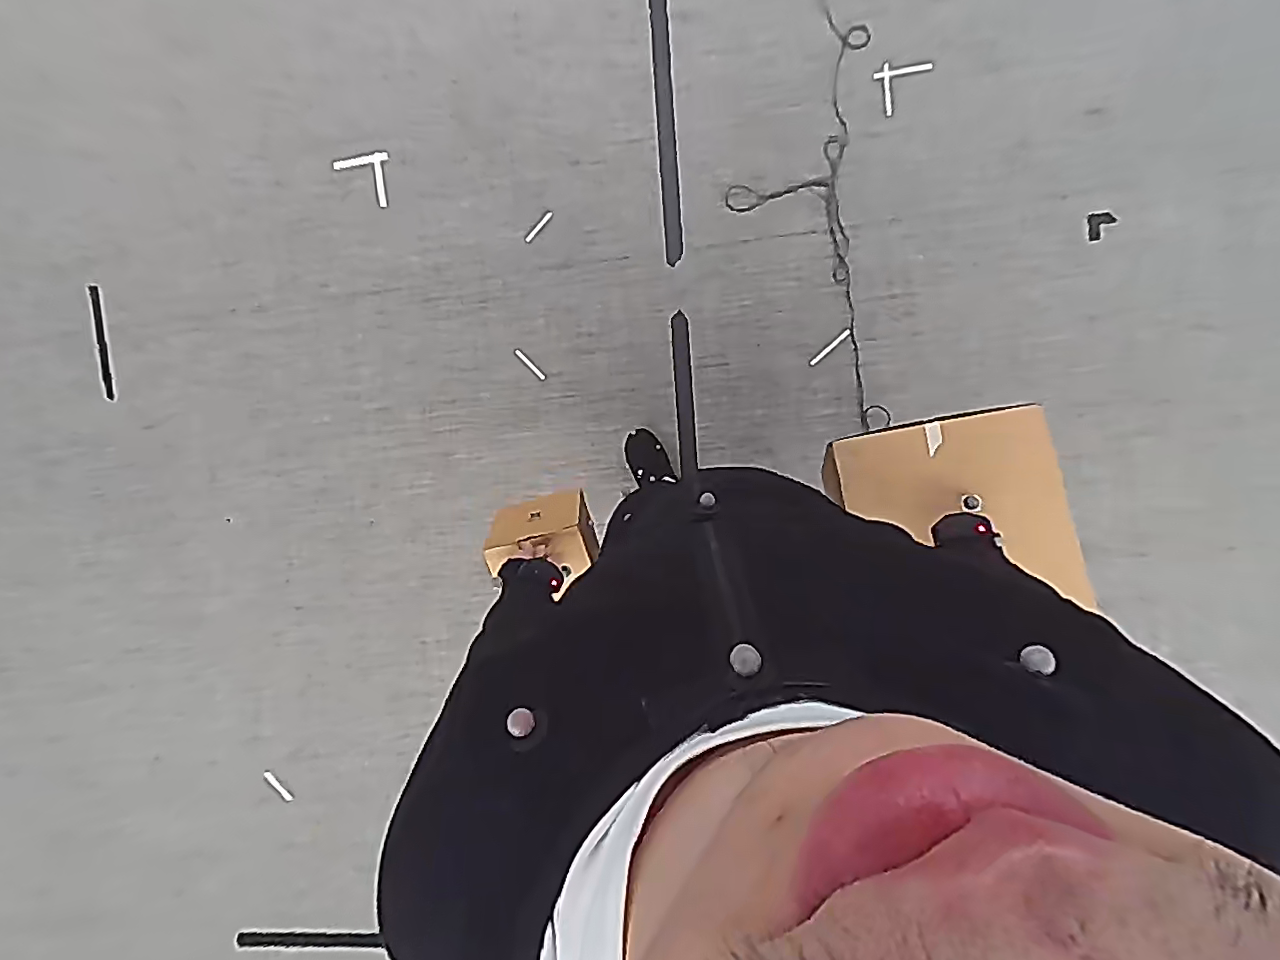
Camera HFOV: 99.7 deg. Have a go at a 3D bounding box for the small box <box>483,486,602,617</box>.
[{"bbox_3d":[-0.170,0.135,1.000,0.168,0.179,0.176,-15,110,1],"label":"small box"}]
